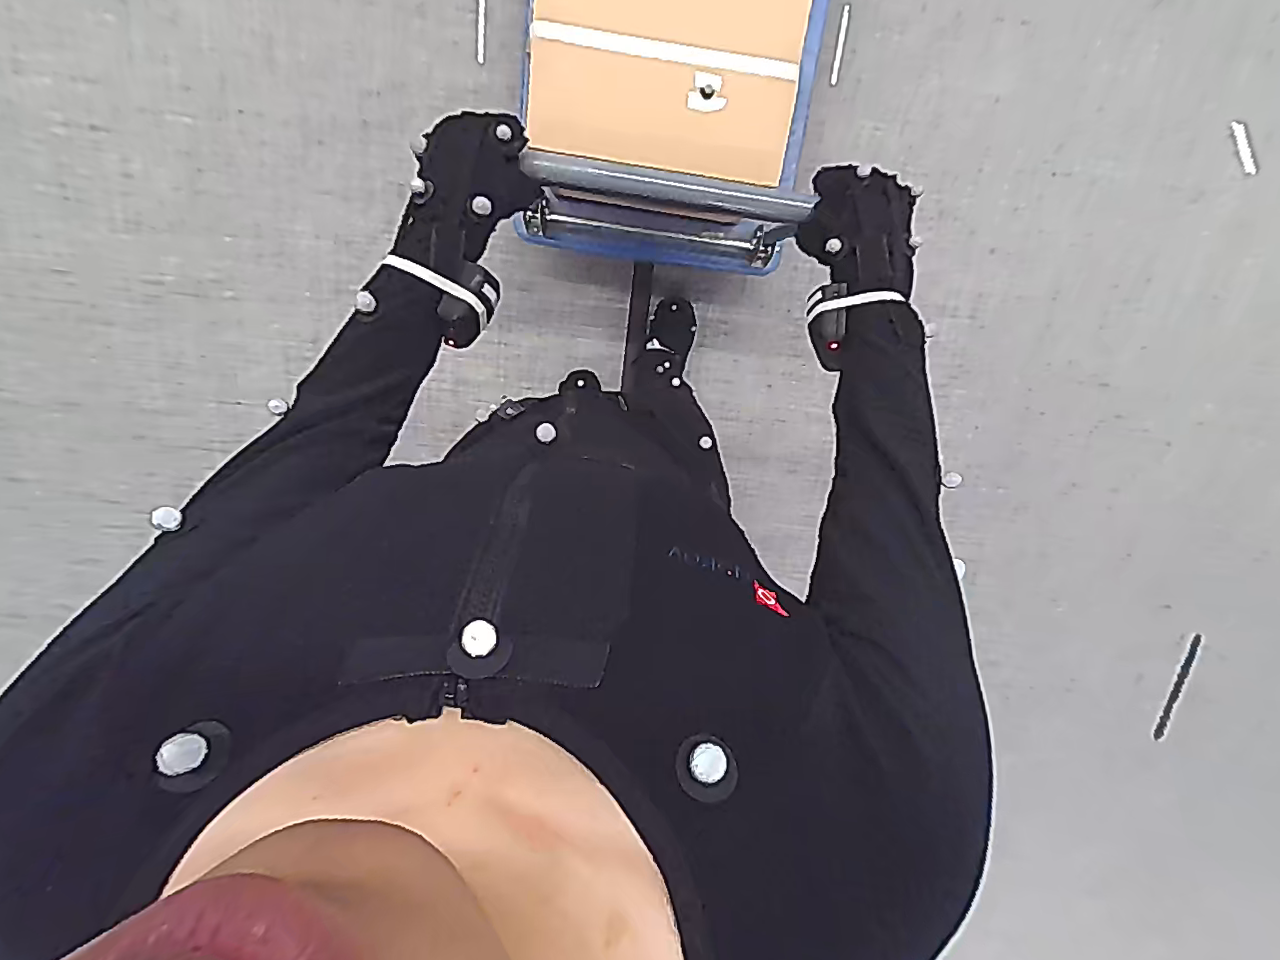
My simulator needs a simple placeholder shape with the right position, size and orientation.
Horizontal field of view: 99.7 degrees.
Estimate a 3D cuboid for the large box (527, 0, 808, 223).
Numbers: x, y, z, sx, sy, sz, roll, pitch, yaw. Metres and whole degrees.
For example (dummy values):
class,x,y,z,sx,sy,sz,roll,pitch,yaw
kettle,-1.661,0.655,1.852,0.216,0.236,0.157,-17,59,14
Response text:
class,x,y,z,sx,sy,sz,roll,pitch,yaw
large box,0.030,-0.667,0.949,0.408,0.320,0.320,7,106,-5
